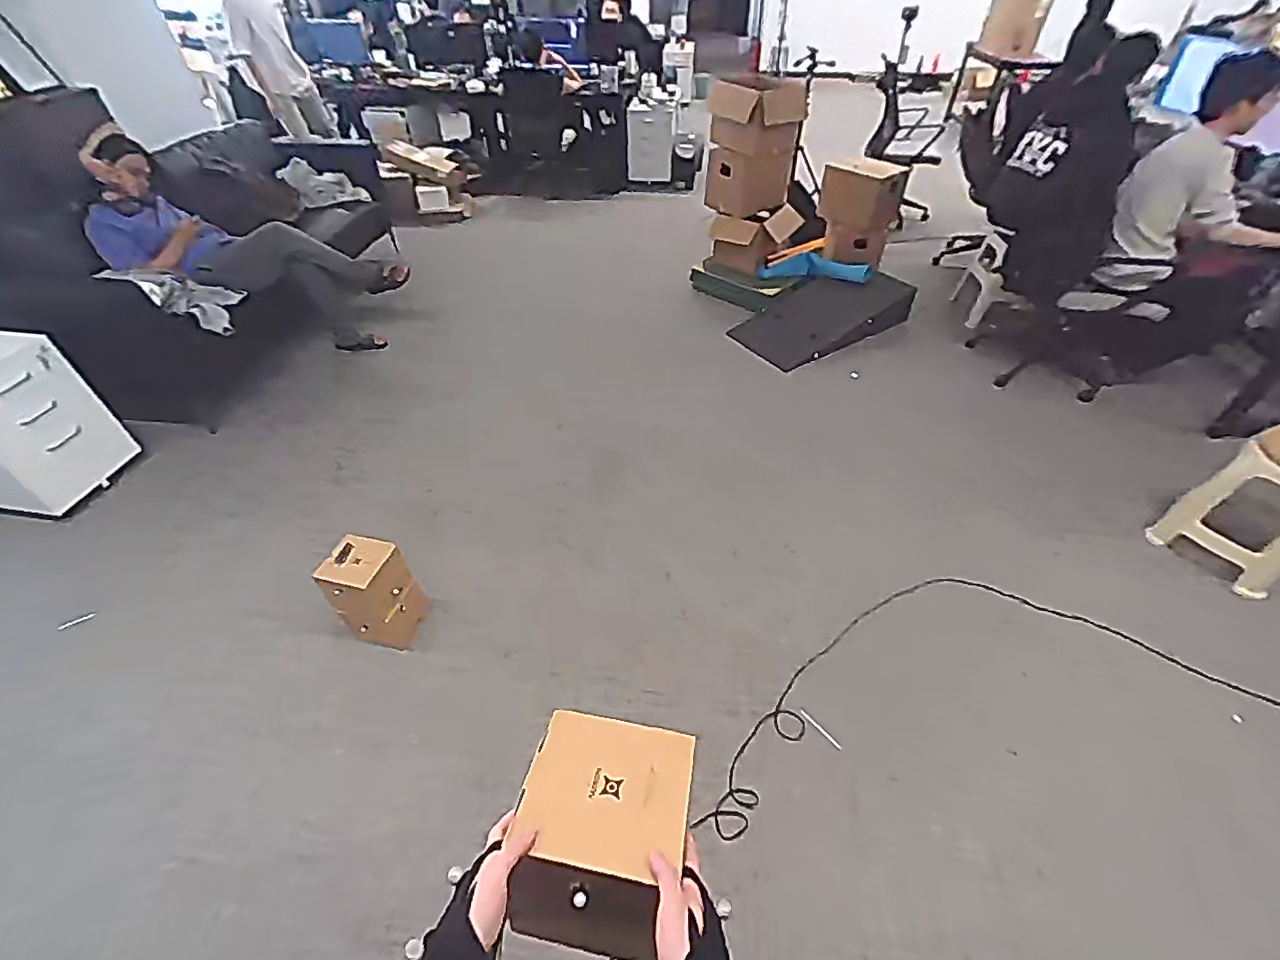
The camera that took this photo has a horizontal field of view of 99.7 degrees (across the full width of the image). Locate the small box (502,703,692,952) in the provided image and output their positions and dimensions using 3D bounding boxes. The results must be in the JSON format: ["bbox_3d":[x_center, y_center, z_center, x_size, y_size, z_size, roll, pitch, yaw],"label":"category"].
[{"bbox_3d":[-0.042,0.392,0.619,0.179,0.176,0.168,9,28,6],"label":"small box"}]

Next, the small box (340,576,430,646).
[{"bbox_3d":[-0.812,0.411,1.736,0.179,0.176,0.168,9,43,10],"label":"small box"}]

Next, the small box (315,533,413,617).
[{"bbox_3d":[-0.821,0.288,1.626,0.179,0.176,0.168,10,44,11],"label":"small box"}]
